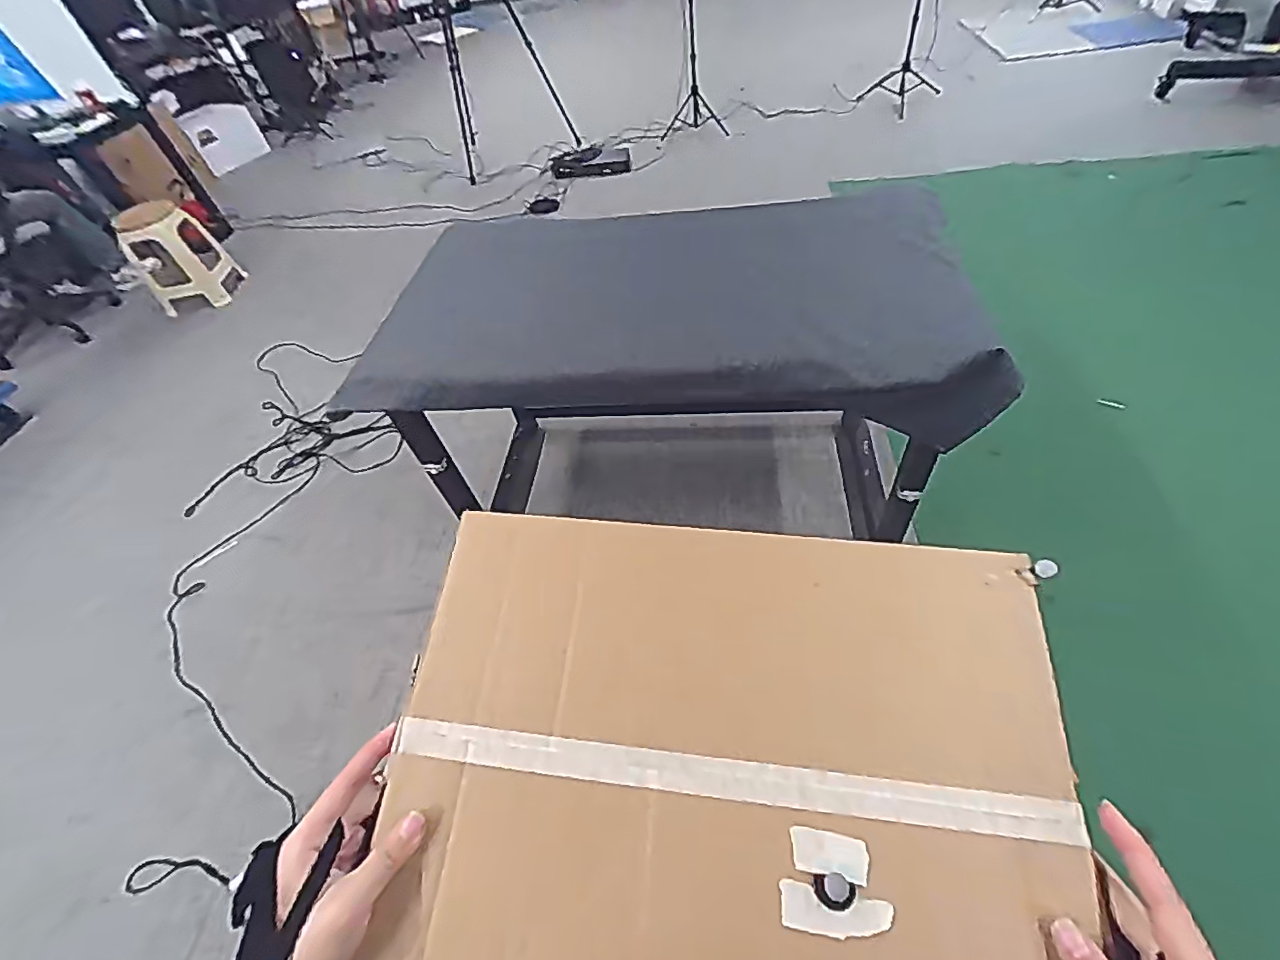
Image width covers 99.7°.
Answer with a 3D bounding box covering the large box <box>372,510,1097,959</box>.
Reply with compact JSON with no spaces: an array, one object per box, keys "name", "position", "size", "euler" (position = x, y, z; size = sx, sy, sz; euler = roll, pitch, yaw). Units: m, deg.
[{"name":"large box","position":[0.064,0.237,0.476],"size":[0.408,0.320,0.320],"euler":[4,65,7]}]
